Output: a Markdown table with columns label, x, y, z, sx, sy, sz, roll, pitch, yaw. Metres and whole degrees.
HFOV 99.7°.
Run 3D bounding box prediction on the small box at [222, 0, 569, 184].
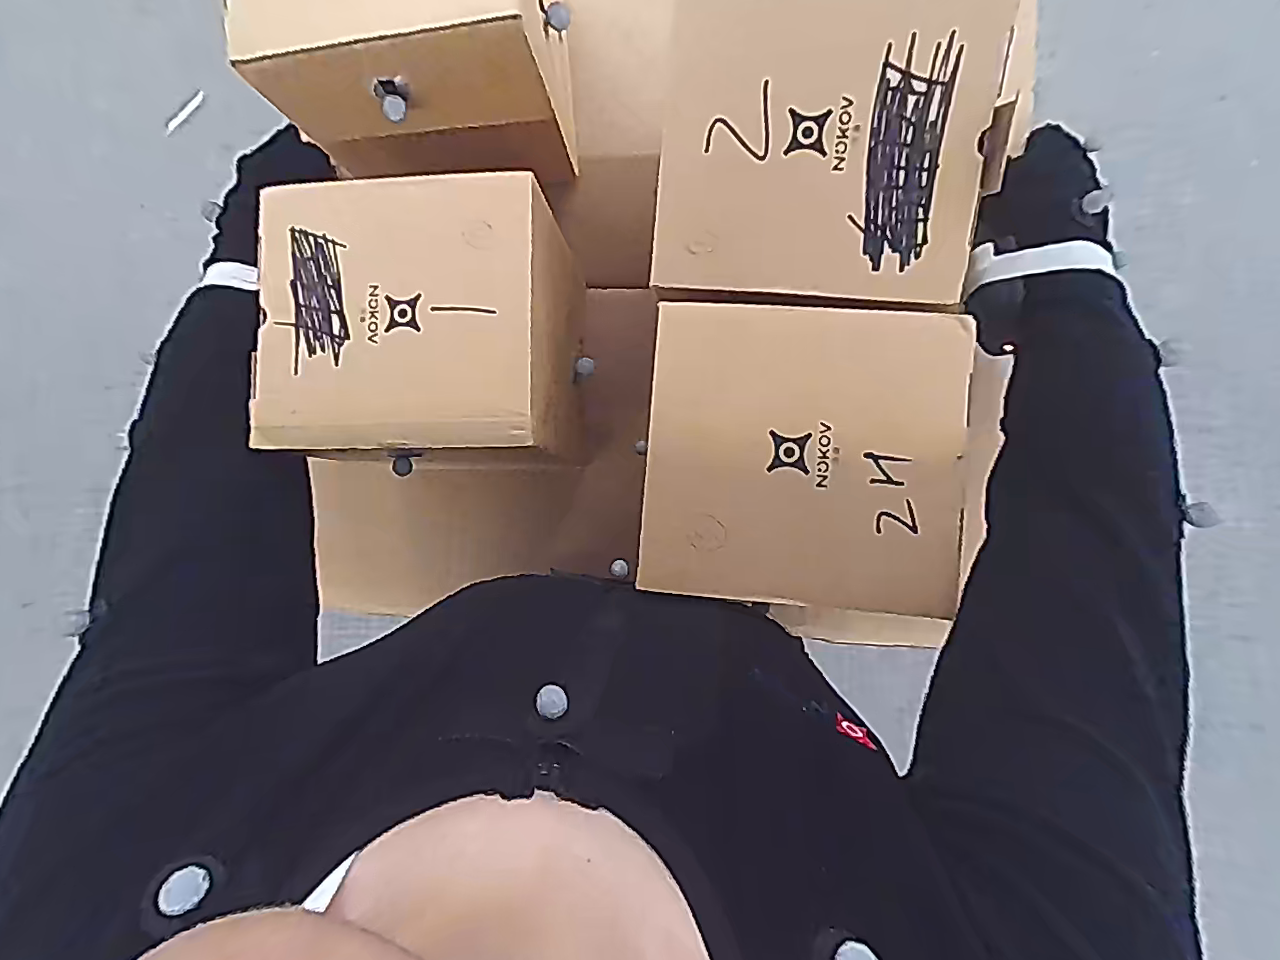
| label | x | y | z | sx | sy | sz | roll | pitch | yaw |
| --- | --- | --- | --- | --- | --- | --- | --- | --- | --- |
| small box | -0.152 | -0.340 | 0.383 | 0.179 | 0.176 | 0.168 | -5 | 90 | 6 |
